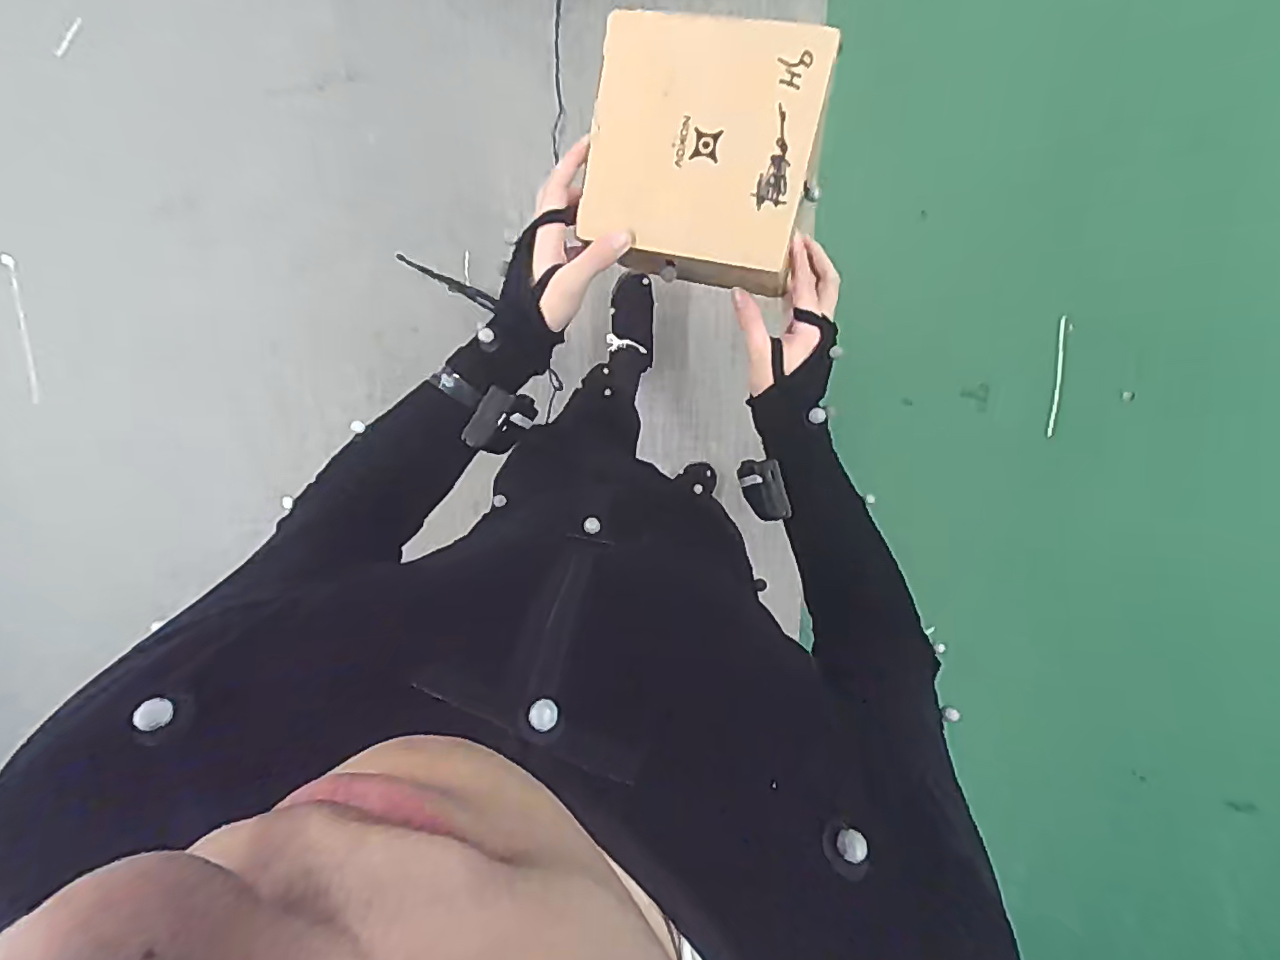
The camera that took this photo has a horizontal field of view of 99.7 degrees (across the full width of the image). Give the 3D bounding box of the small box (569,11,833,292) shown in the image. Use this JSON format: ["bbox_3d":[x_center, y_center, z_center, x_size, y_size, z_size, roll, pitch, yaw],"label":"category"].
[{"bbox_3d":[0.059,-0.276,0.491,0.179,0.176,0.168,15,105,12],"label":"small box"}]
